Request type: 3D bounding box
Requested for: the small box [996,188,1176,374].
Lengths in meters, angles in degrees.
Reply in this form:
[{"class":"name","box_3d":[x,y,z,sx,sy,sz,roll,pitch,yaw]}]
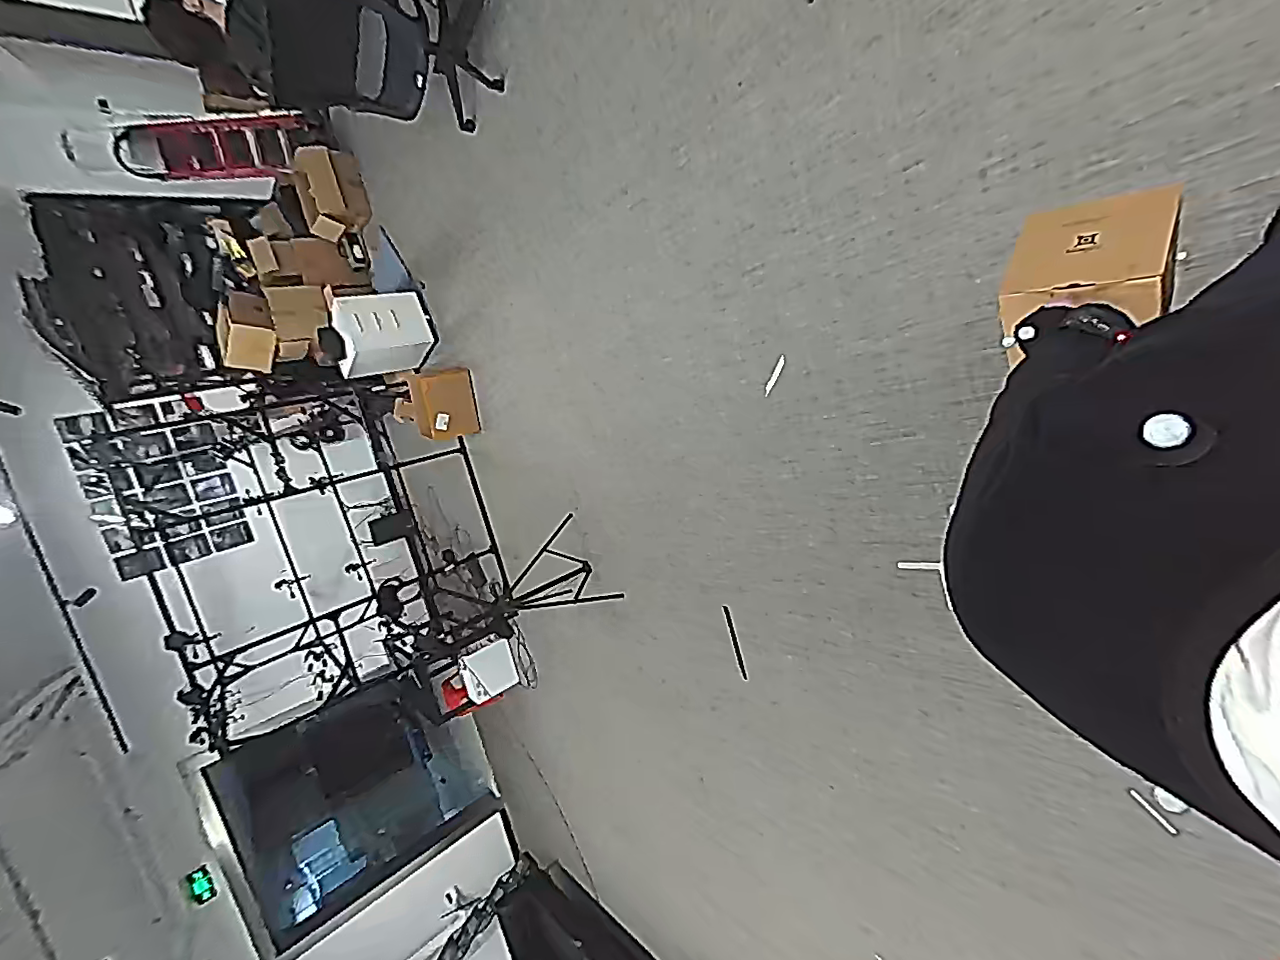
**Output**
[{"class":"small box","box_3d":[0.629,-0.265,0.764,0.168,0.179,0.176,9,151,44]}]
